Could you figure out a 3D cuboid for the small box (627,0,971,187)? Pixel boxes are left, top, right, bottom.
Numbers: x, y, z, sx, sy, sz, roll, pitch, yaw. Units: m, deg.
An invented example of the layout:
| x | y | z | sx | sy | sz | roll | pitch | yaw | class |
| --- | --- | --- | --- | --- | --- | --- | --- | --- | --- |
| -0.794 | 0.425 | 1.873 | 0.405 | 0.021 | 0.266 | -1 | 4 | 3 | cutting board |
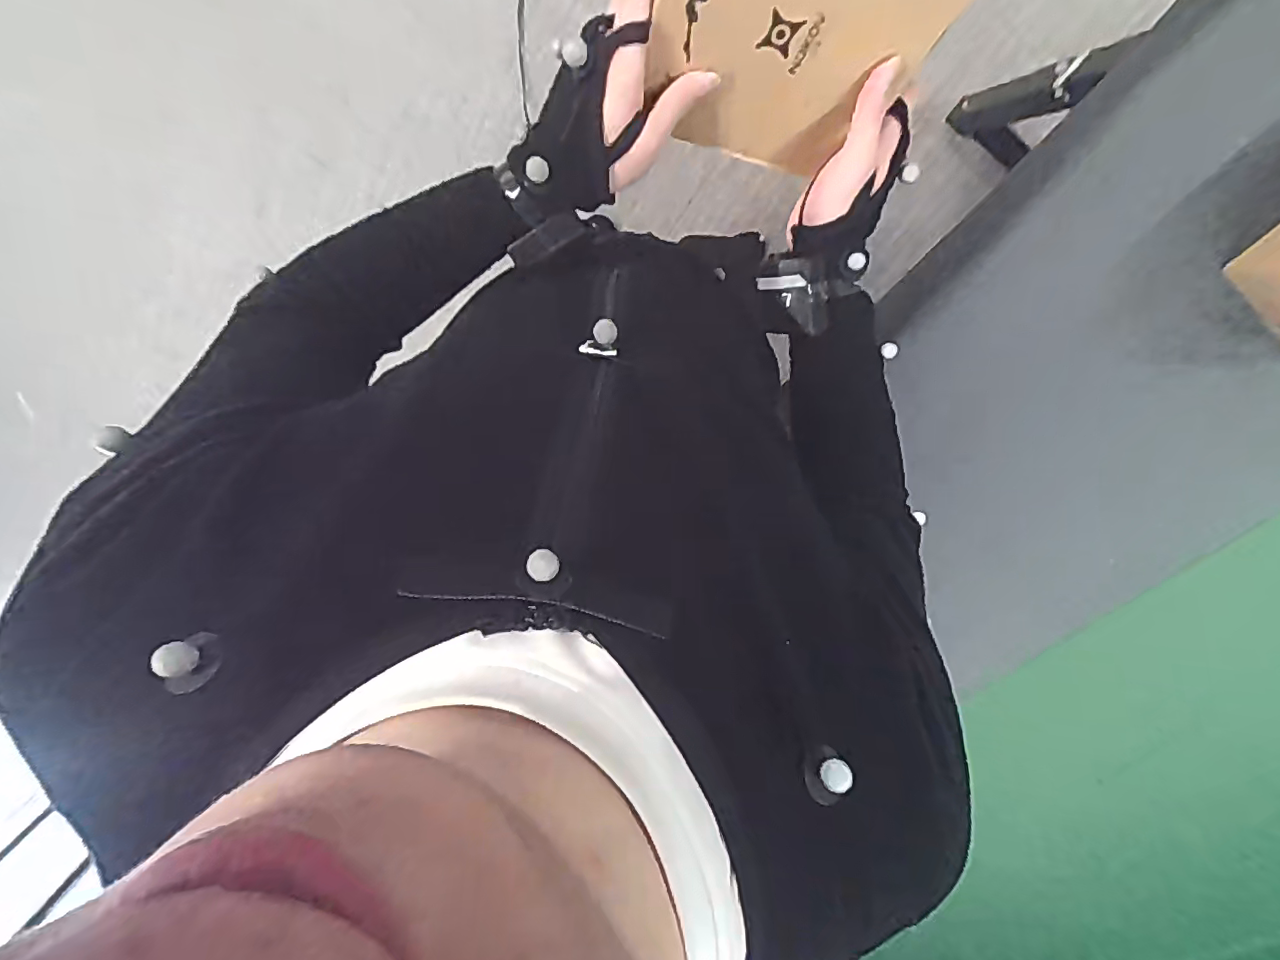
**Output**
| x | y | z | sx | sy | sz | roll | pitch | yaw | class |
| --- | --- | --- | --- | --- | --- | --- | --- | --- | --- |
| 0.097 | -0.350 | 0.374 | 0.179 | 0.176 | 0.168 | 7 | 159 | -16 | small box |
